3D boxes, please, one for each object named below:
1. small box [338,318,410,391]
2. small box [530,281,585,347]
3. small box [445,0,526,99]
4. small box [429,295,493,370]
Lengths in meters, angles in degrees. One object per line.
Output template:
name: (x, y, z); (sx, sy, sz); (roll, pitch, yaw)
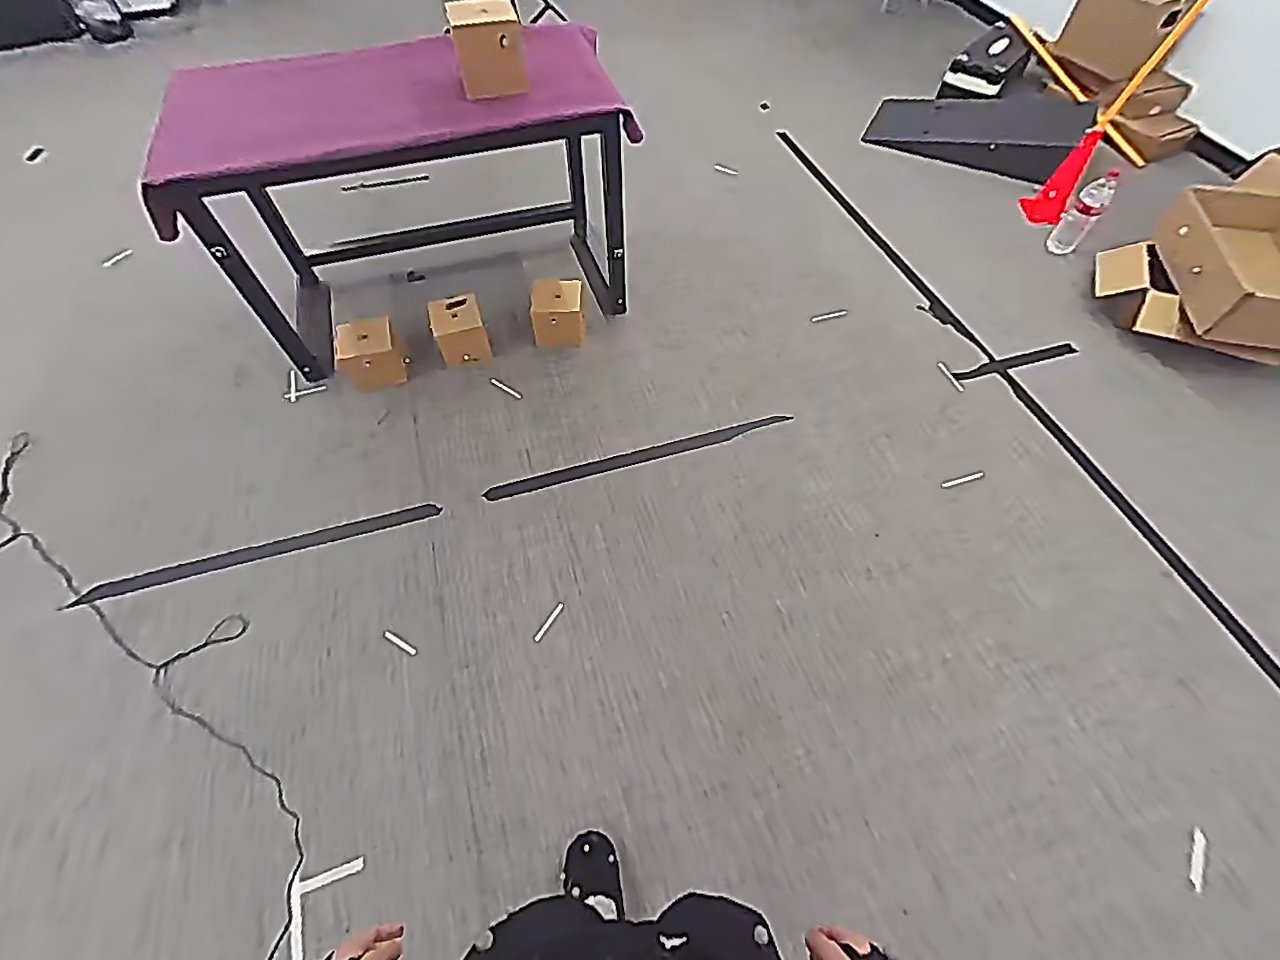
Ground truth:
small box: (-0.924, -0.432, 1.881); (0.179, 0.176, 0.168); (-14, 61, -10)
small box: (-0.295, -0.607, 1.988); (0.179, 0.176, 0.168); (-2, 59, 1)
small box: (-0.417, -1.180, 1.481); (0.179, 0.176, 0.168); (-14, 59, -8)
small box: (-0.639, -0.527, 1.937); (0.168, 0.176, 0.179); (-16, 61, -10)
